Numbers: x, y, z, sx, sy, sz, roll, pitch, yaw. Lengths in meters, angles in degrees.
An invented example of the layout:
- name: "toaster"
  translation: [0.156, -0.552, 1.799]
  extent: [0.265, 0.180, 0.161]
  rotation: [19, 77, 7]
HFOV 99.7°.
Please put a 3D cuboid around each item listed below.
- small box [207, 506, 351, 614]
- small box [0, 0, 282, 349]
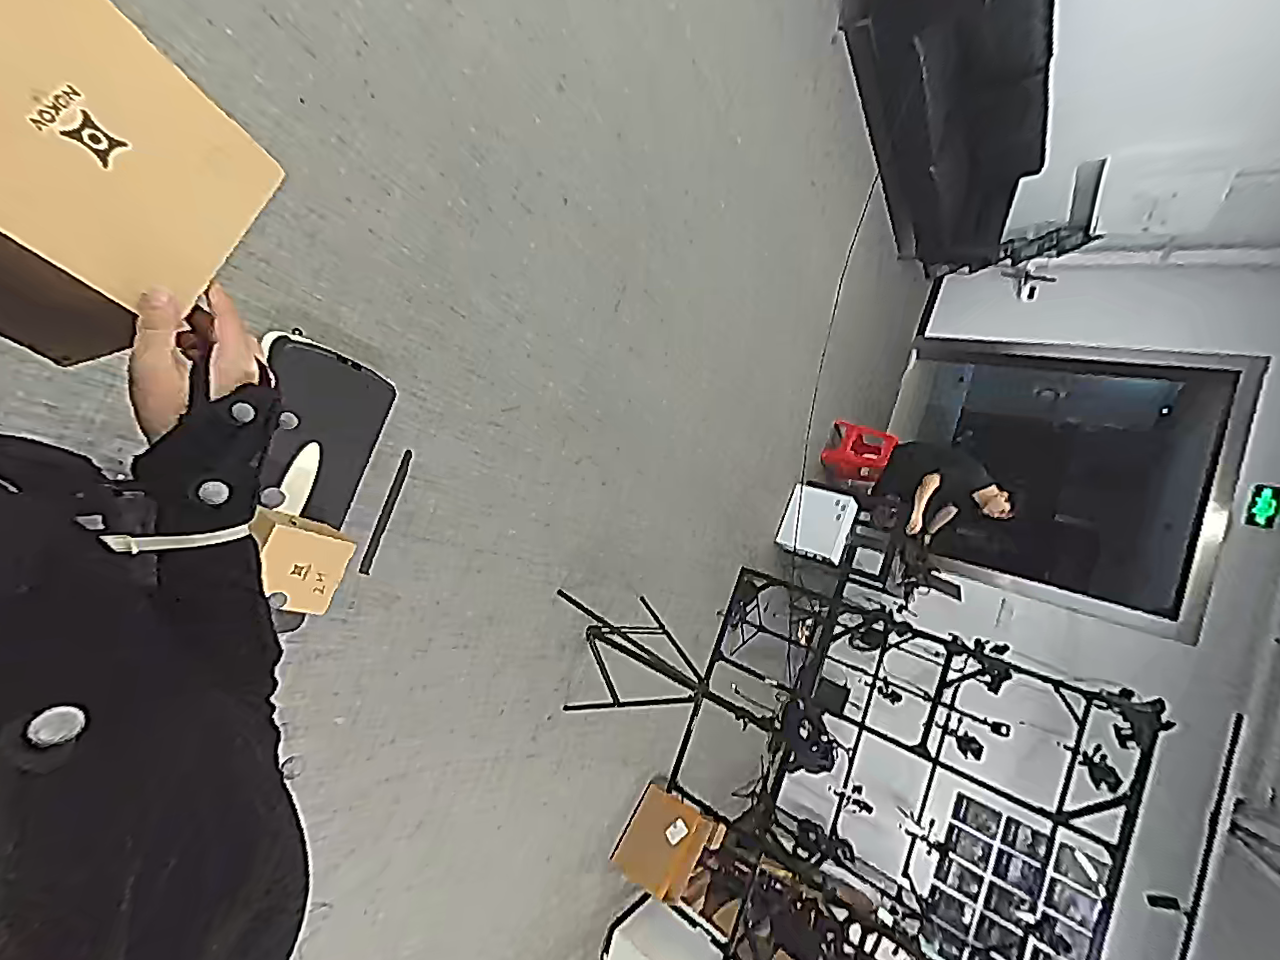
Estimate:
- name: "small box"
  translation: [-0.765, 0.166, 1.144]
  extent: [0.179, 0.176, 0.168]
  rotation: [35, 75, -53]
- name: "small box"
  translation: [-0.394, -0.202, 0.349]
  extent: [0.179, 0.176, 0.168]
  rotation: [47, 48, -52]
